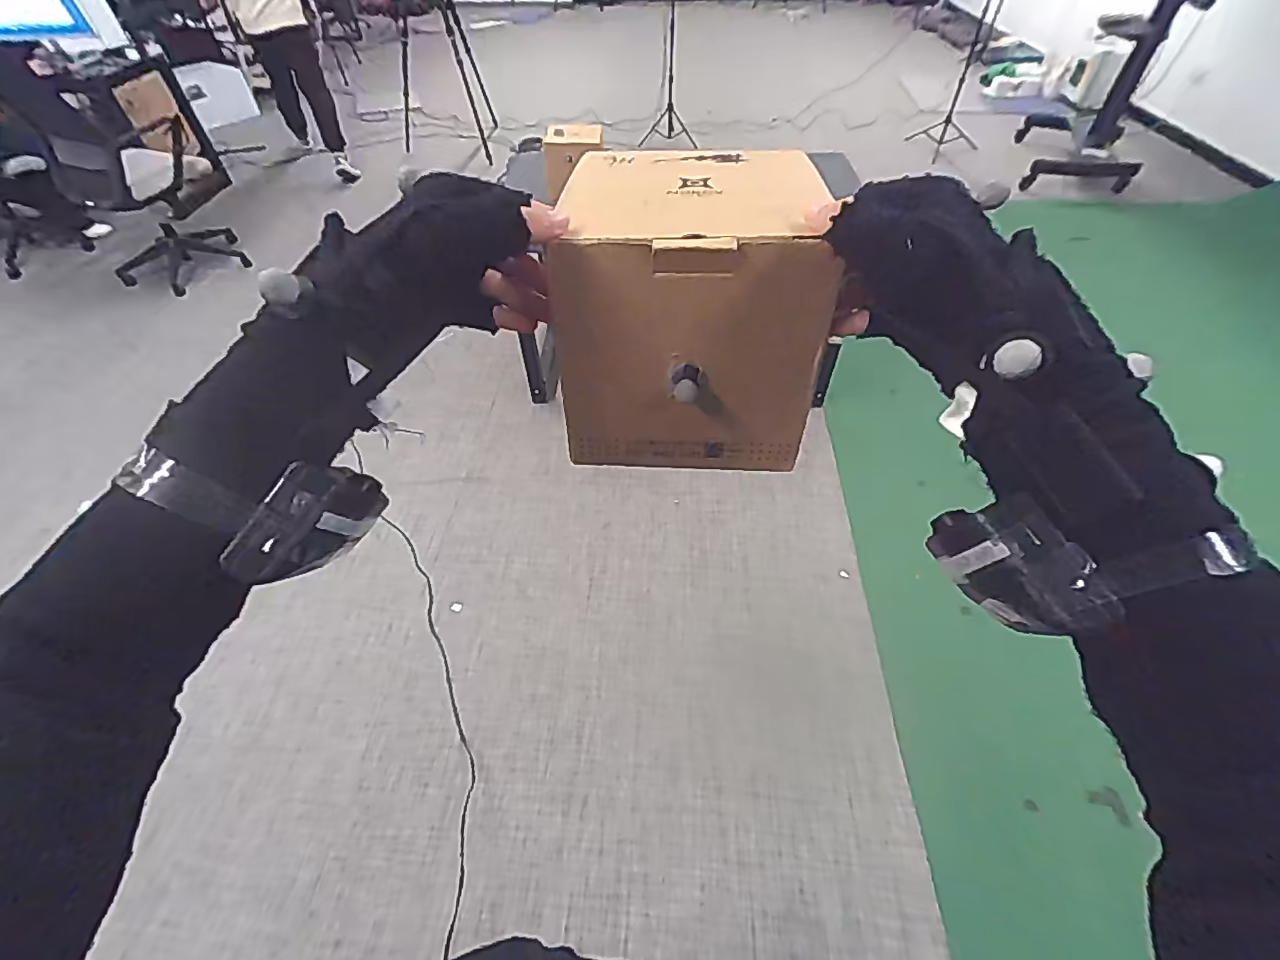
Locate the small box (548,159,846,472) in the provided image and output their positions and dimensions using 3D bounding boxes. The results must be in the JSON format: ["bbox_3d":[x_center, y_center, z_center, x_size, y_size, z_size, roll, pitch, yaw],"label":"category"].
[{"bbox_3d":[0.039,-0.122,0.405,0.168,0.176,0.179,2,45,4],"label":"small box"}]

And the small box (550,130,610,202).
[{"bbox_3d":[-0.190,-1.023,1.765,0.179,0.176,0.168,1,49,0],"label":"small box"}]
